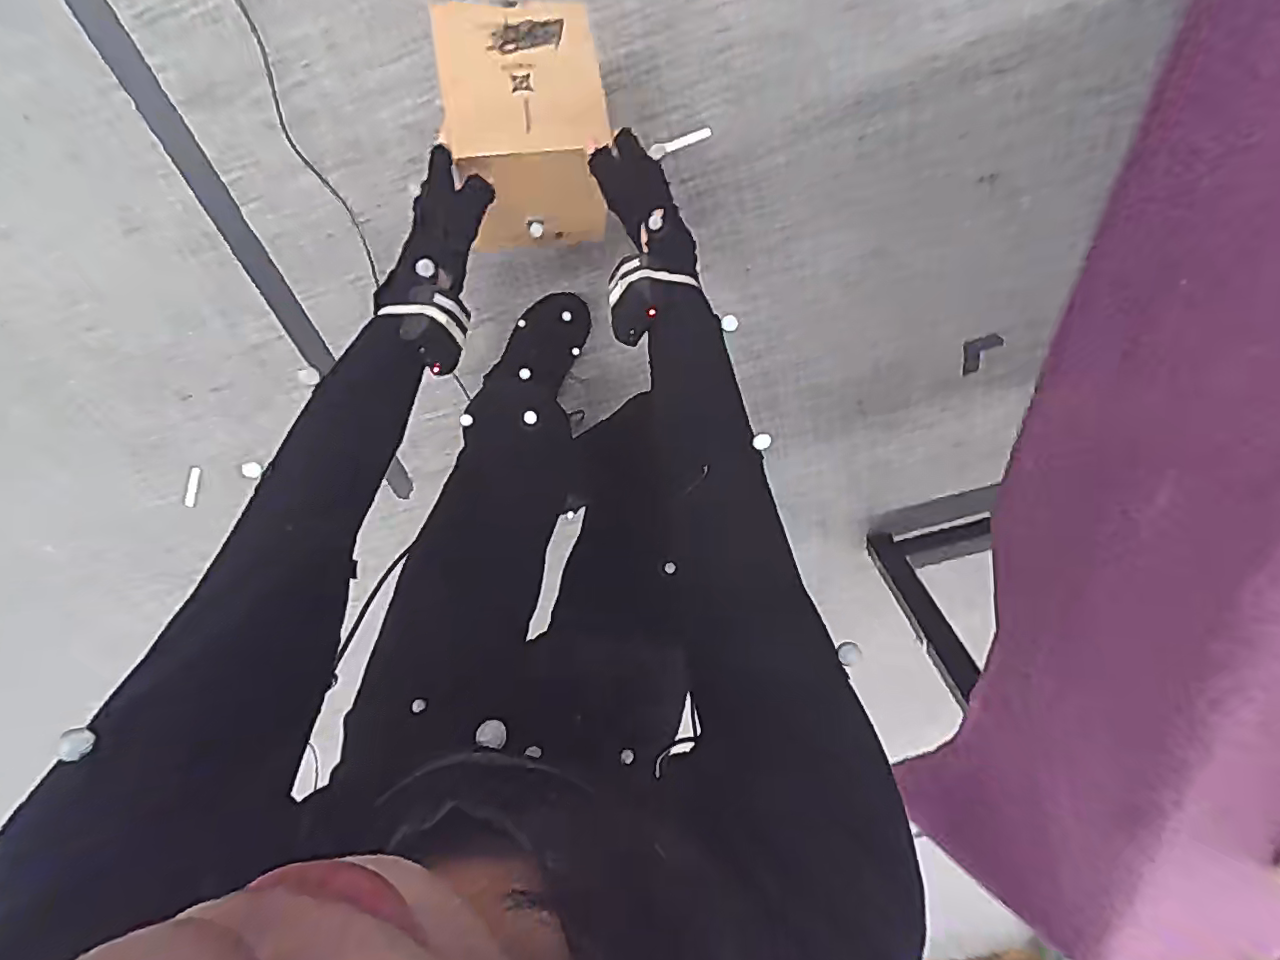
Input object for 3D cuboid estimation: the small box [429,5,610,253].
[{"bbox_3d":[-0.134,-0.394,0.626,0.168,0.176,0.179,-9,80,-9],"label":"small box"}]
